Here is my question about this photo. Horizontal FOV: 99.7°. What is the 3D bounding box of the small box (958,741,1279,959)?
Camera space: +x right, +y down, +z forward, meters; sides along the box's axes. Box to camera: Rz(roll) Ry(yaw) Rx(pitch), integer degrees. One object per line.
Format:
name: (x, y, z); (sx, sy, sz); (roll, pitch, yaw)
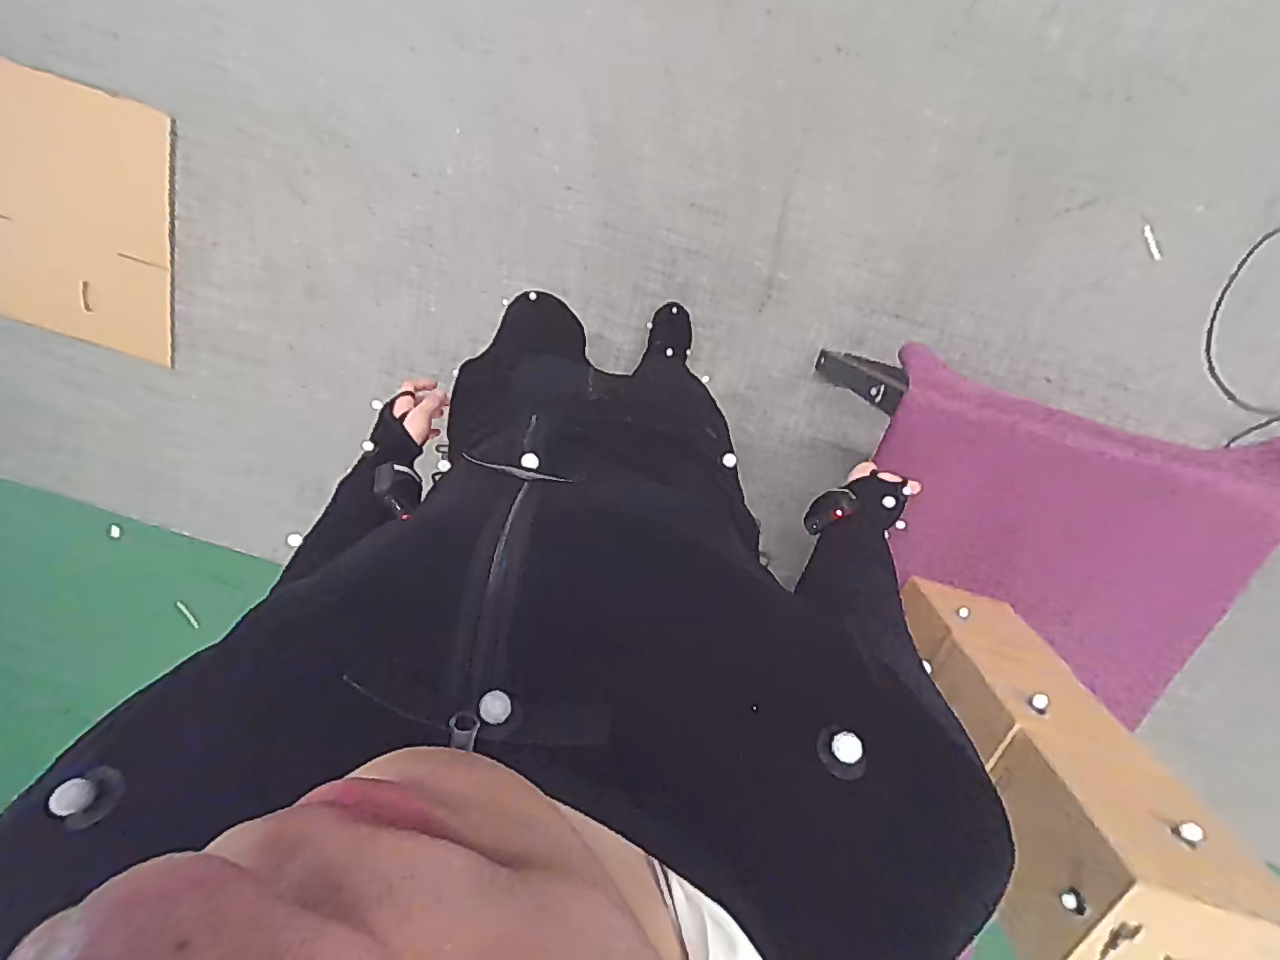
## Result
small box: (0.470, 0.398, 0.542); (0.179, 0.176, 0.168); (16, 110, -1)

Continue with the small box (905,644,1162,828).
small box: (0.478, 0.340, 0.695); (0.179, 0.176, 0.168); (18, 111, -1)
